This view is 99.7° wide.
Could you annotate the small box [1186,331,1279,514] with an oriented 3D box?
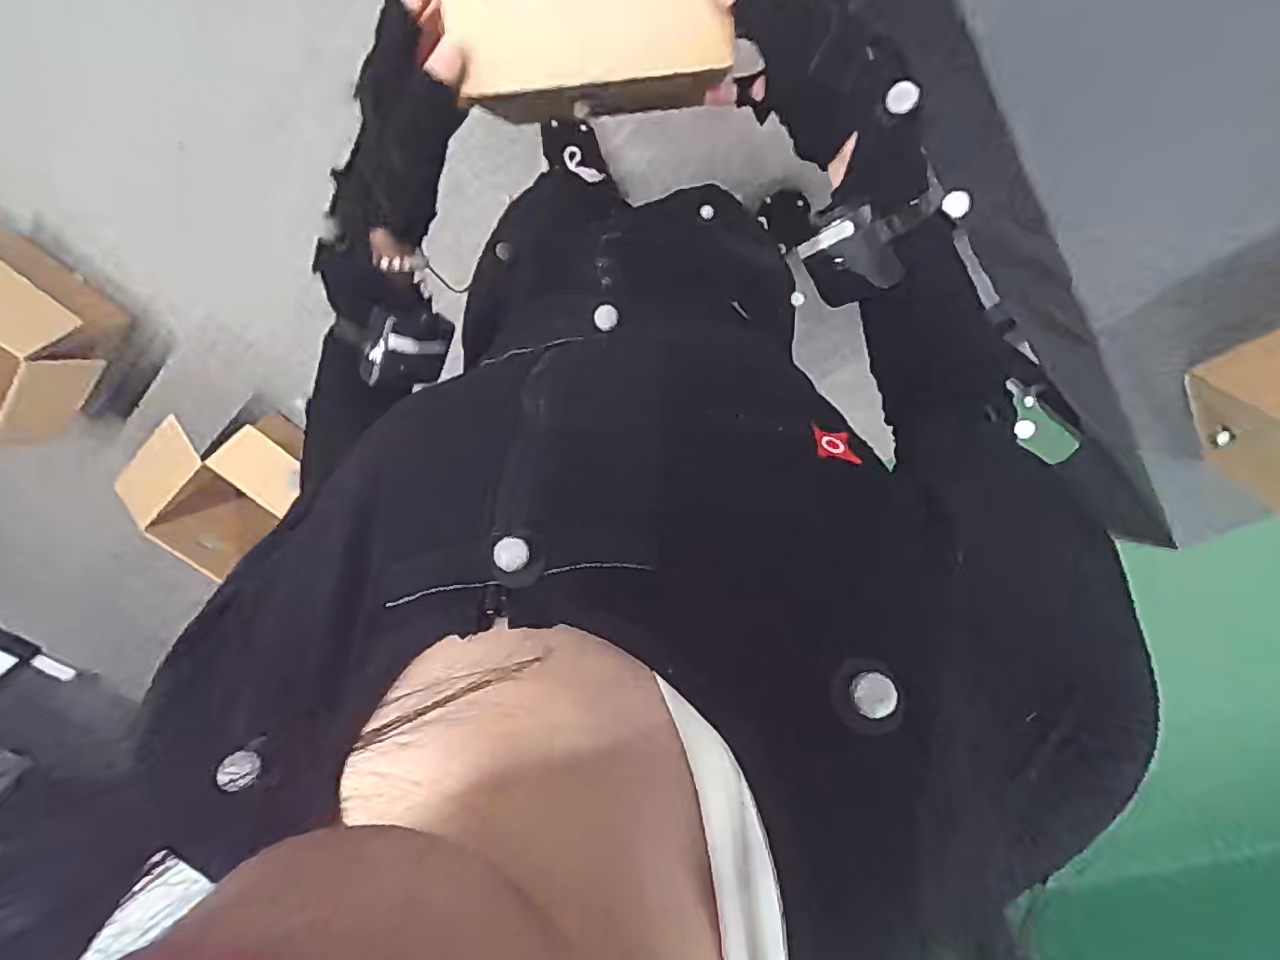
[{"bbox_3d":[0.767,-0.072,0.587,0.179,0.176,0.168,-30,117,23],"label":"small box"}]
